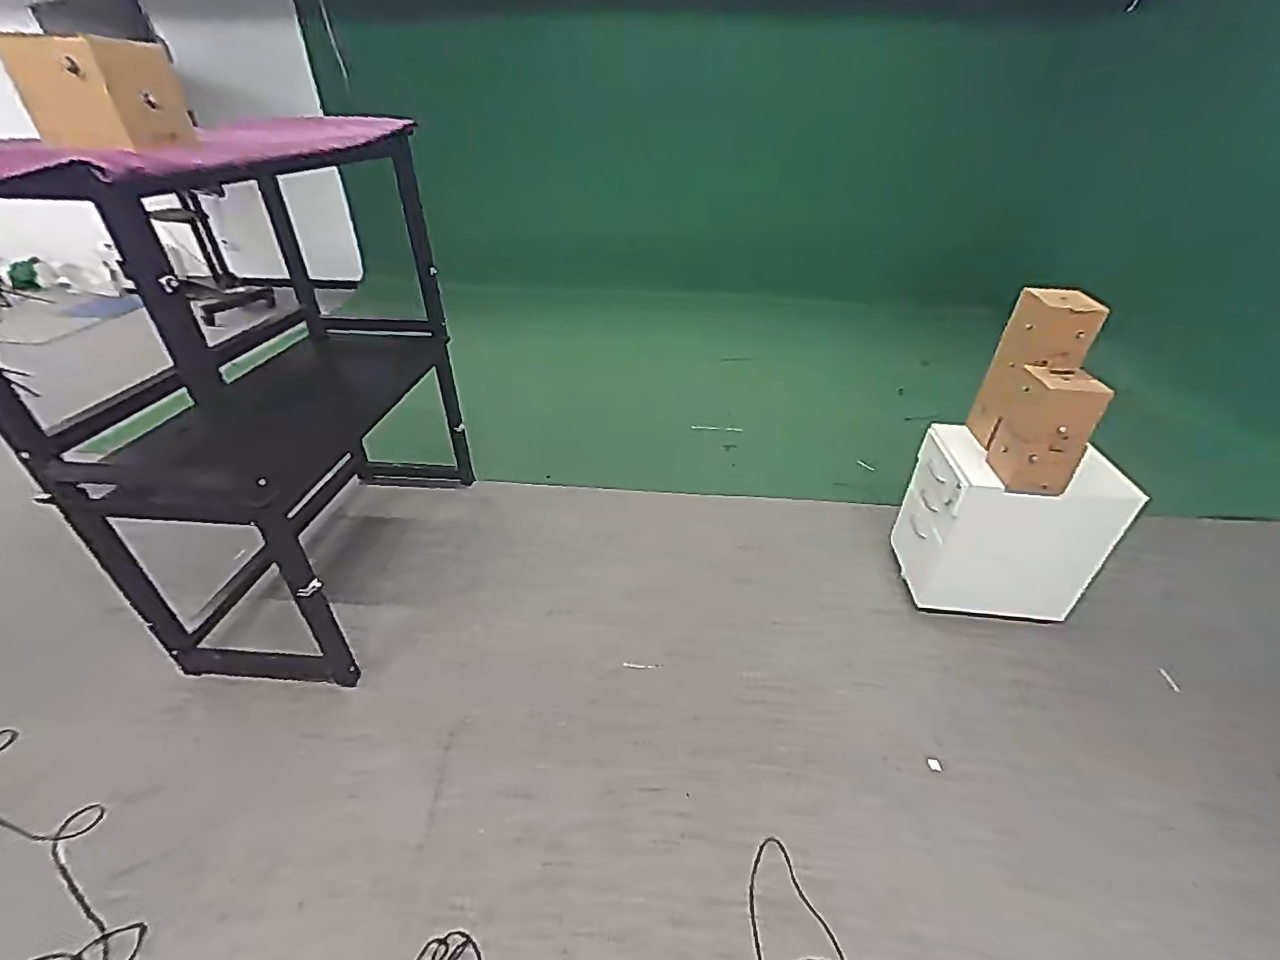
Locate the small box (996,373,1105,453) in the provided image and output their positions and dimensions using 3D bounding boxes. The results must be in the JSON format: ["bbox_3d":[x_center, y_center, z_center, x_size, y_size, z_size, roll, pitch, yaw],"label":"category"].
[{"bbox_3d":[1.193,-0.199,1.591,0.168,0.176,0.179,5,34,5],"label":"small box"}]

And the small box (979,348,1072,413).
[{"bbox_3d":[1.252,-0.320,1.775,0.168,0.176,0.179,5,37,5],"label":"small box"}]

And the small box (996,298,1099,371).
[{"bbox_3d":[1.254,-0.452,1.679,0.168,0.176,0.179,6,36,3],"label":"small box"}]

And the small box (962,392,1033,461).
[{"bbox_3d":[1.251,-0.186,1.869,0.168,0.176,0.179,4,36,4],"label":"small box"}]

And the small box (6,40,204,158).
[{"bbox_3d":[-0.988,-0.714,1.022,0.179,0.176,0.168,3,33,2],"label":"small box"}]
